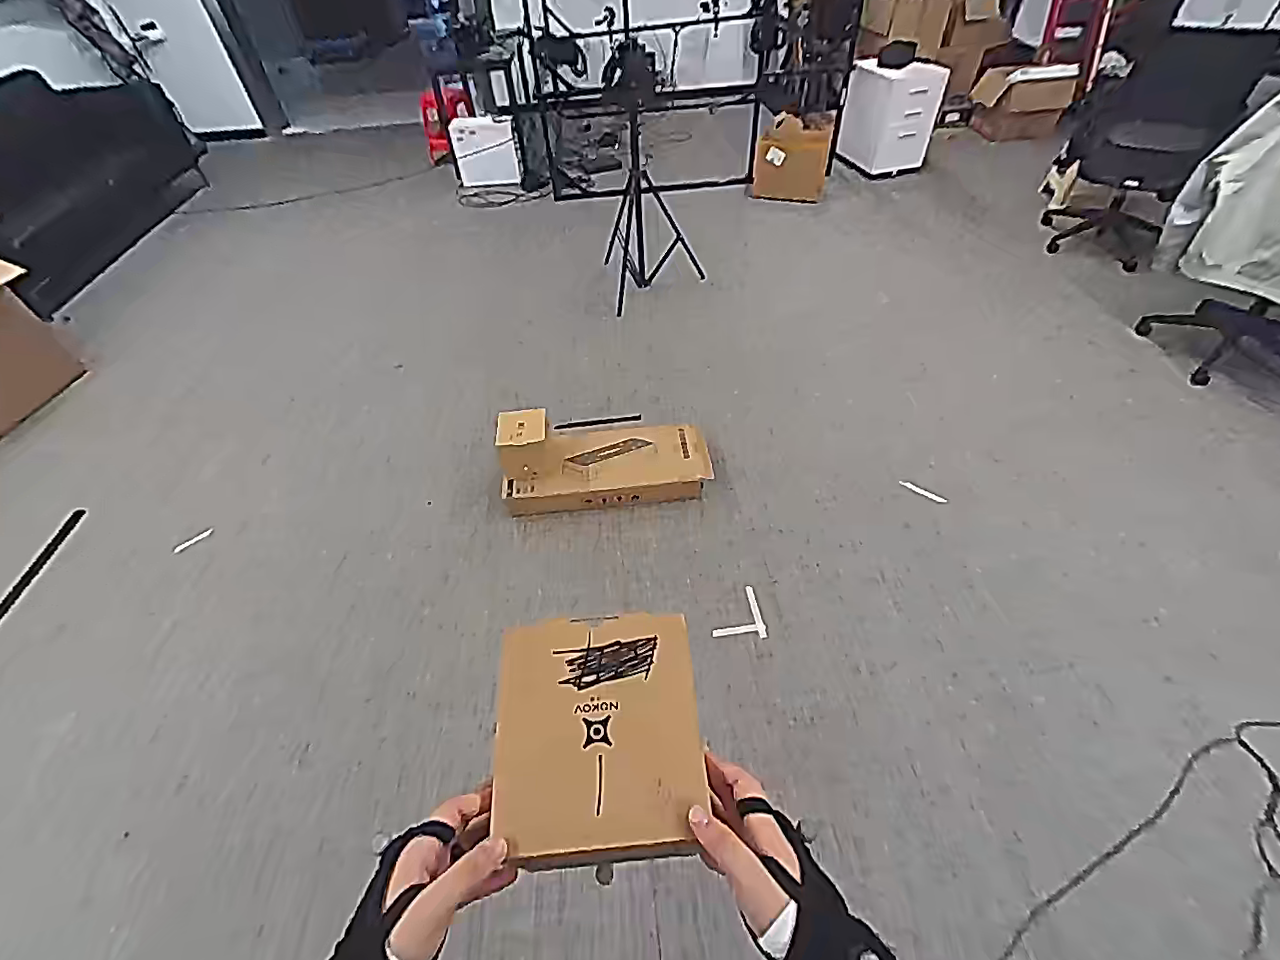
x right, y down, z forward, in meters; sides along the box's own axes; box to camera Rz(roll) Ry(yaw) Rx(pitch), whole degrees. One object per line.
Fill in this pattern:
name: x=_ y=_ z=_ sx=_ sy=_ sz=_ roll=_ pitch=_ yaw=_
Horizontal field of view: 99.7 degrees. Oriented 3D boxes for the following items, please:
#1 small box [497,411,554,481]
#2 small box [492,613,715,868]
small box: x=-0.399 y=-0.119 z=1.909 sx=0.168 sy=0.176 sz=0.179 roll=-6 pitch=47 yaw=-2
small box: x=-0.032 y=0.245 z=0.506 sx=0.168 sy=0.176 sz=0.179 roll=-5 pitch=52 yaw=-3
